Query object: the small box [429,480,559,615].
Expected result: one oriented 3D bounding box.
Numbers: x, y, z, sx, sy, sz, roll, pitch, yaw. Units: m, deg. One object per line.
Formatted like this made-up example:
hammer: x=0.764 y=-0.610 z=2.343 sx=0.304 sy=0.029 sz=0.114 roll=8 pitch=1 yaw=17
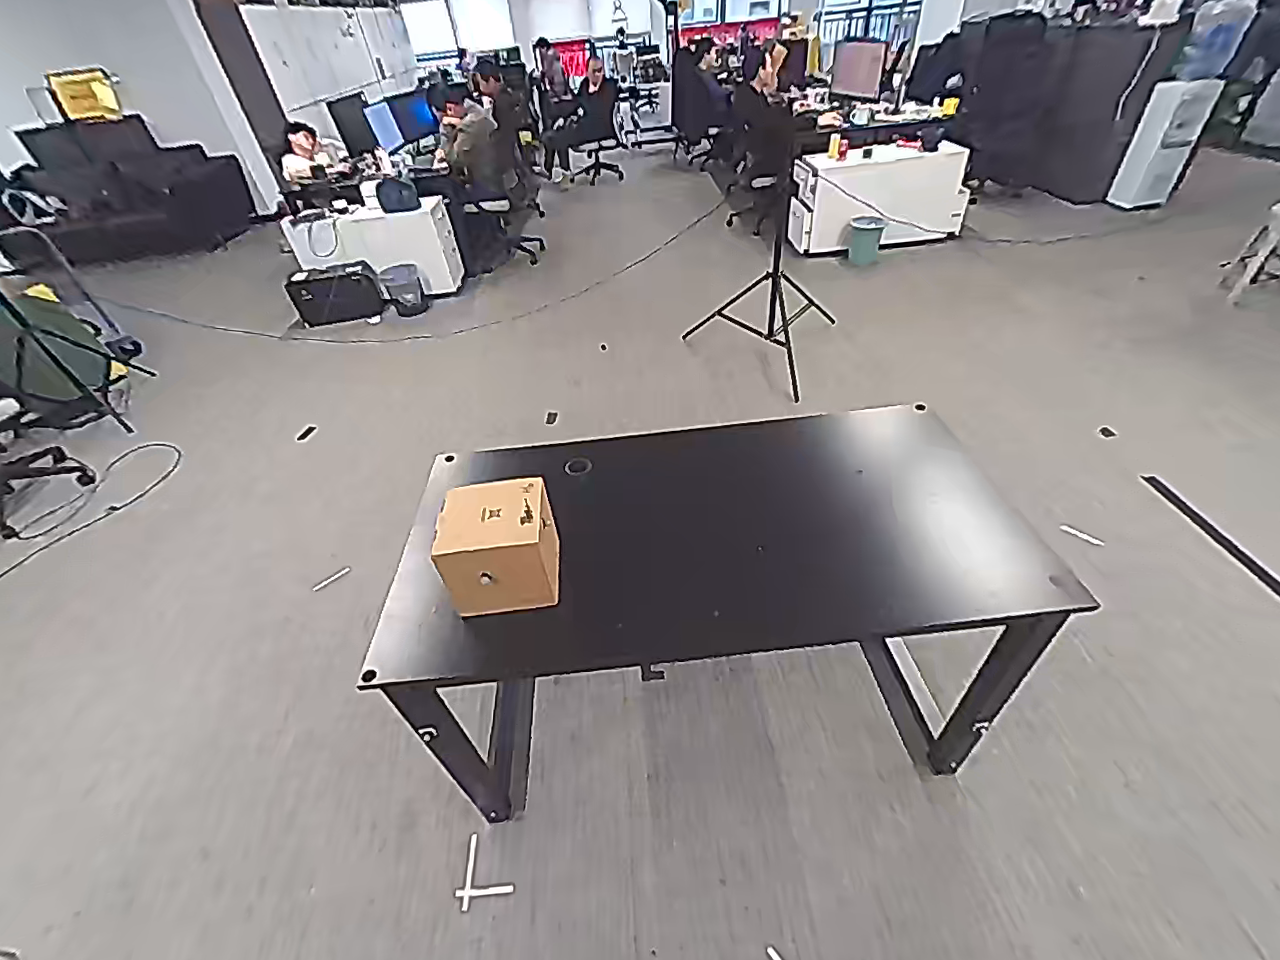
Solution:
small box: x=-0.250 y=0.125 z=0.973 sx=0.179 sy=0.176 sz=0.168 roll=-8 pitch=41 yaw=-1
